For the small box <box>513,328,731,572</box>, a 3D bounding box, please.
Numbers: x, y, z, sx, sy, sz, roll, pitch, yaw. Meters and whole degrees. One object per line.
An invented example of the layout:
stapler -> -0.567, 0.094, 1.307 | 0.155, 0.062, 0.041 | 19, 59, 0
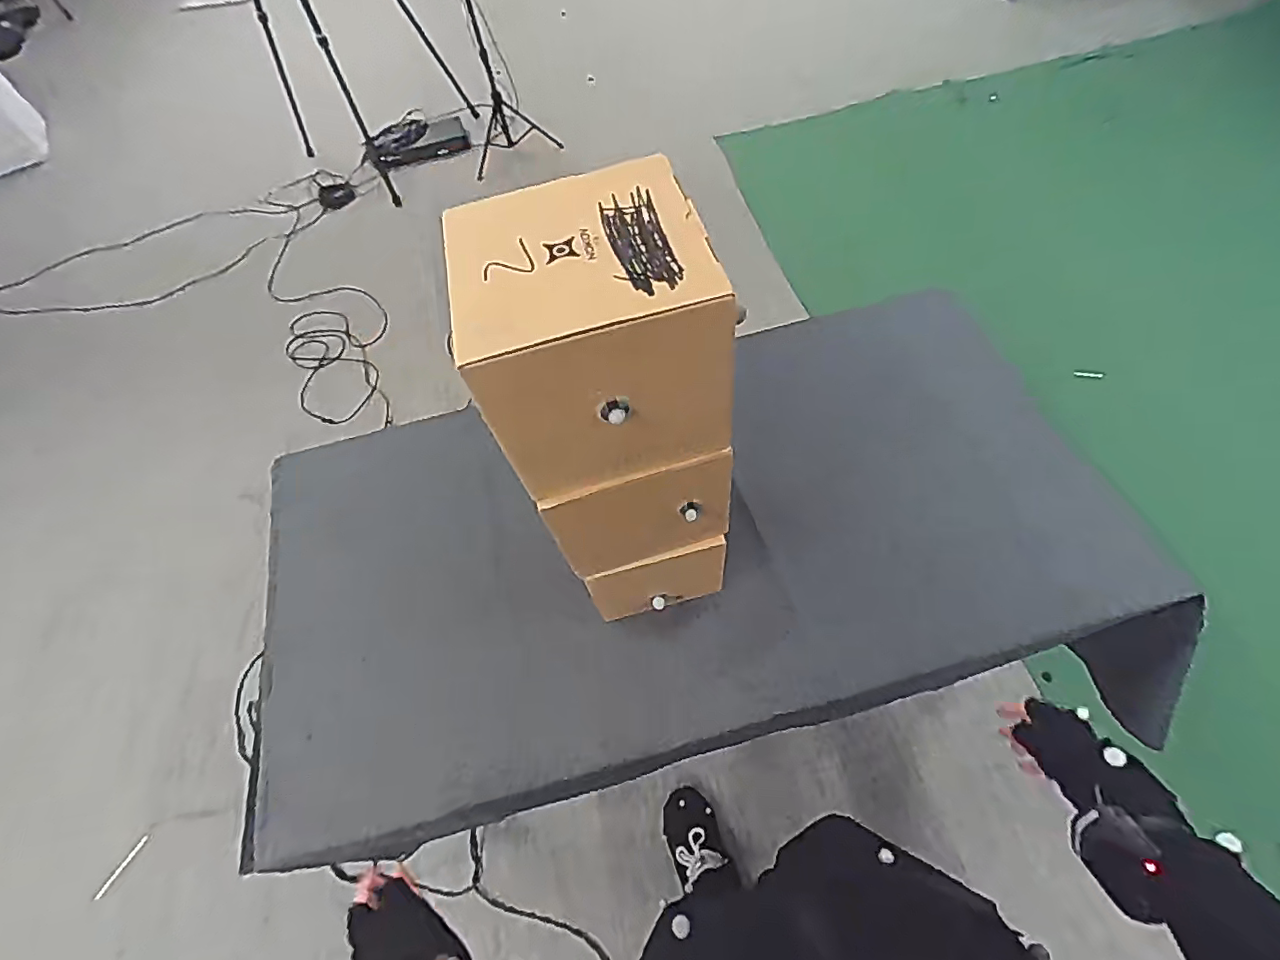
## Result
small box -> -0.017, -0.025, 0.570 | 0.179, 0.176, 0.168 | -16, 58, -3

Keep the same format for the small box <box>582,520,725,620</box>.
small box -> 0.005, 0.060, 0.708 | 0.168, 0.176, 0.179 | -14, 59, -2

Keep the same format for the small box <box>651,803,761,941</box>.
small box -> 0.136, 0.800, 1.123 | 0.179, 0.176, 0.168 | 5, 73, 30
